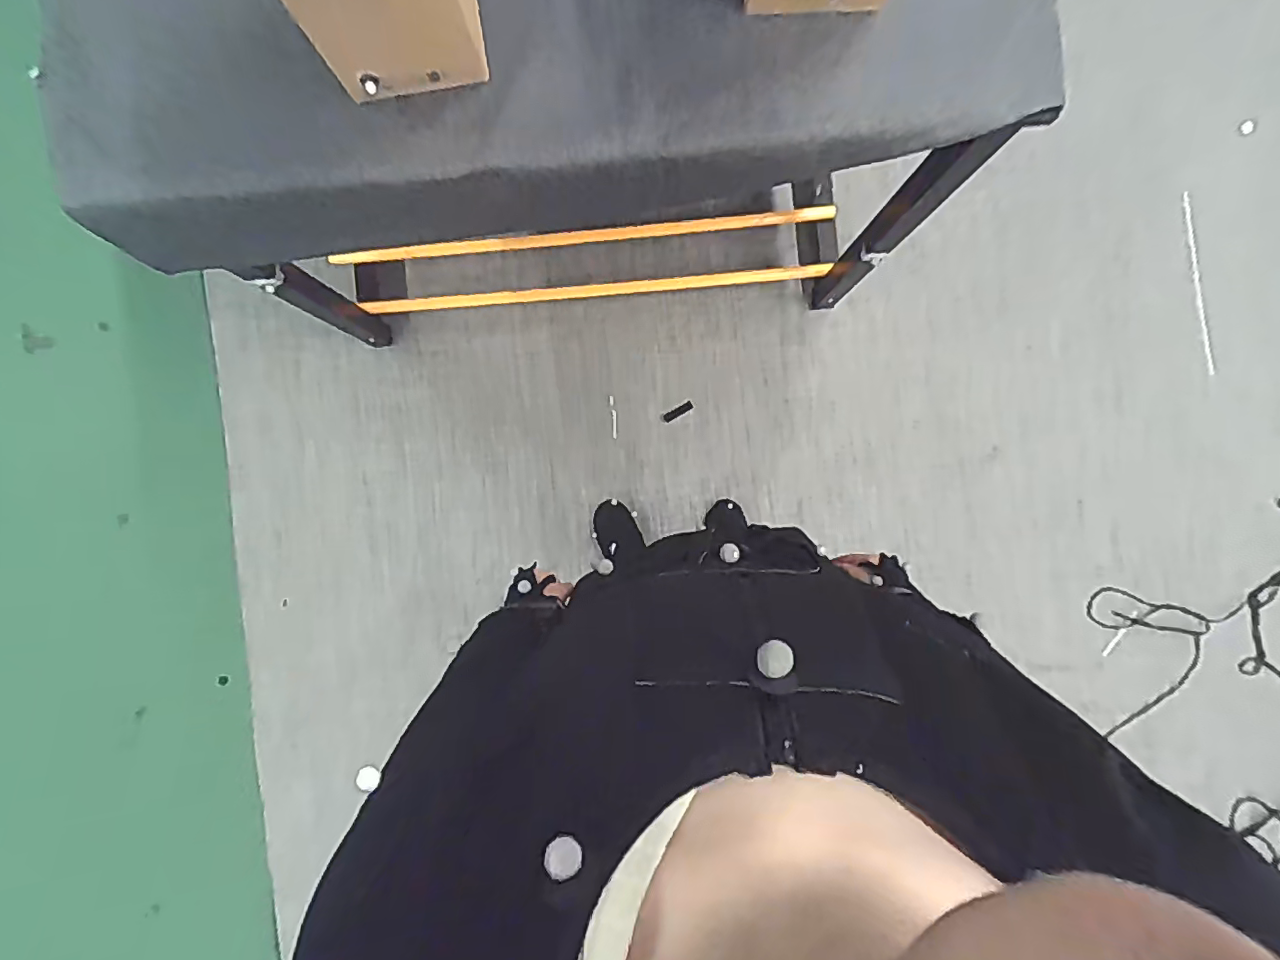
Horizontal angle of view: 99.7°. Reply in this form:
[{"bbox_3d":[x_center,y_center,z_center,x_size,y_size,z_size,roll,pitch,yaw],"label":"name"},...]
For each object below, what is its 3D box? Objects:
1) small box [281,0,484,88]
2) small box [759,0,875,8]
[{"bbox_3d":[-0.275,-0.552,0.567,0.168,0.176,0.179,-9,88,-1],"label":"small box"},{"bbox_3d":[0.202,-0.649,0.570,0.168,0.176,0.179,-1,88,-1],"label":"small box"}]
